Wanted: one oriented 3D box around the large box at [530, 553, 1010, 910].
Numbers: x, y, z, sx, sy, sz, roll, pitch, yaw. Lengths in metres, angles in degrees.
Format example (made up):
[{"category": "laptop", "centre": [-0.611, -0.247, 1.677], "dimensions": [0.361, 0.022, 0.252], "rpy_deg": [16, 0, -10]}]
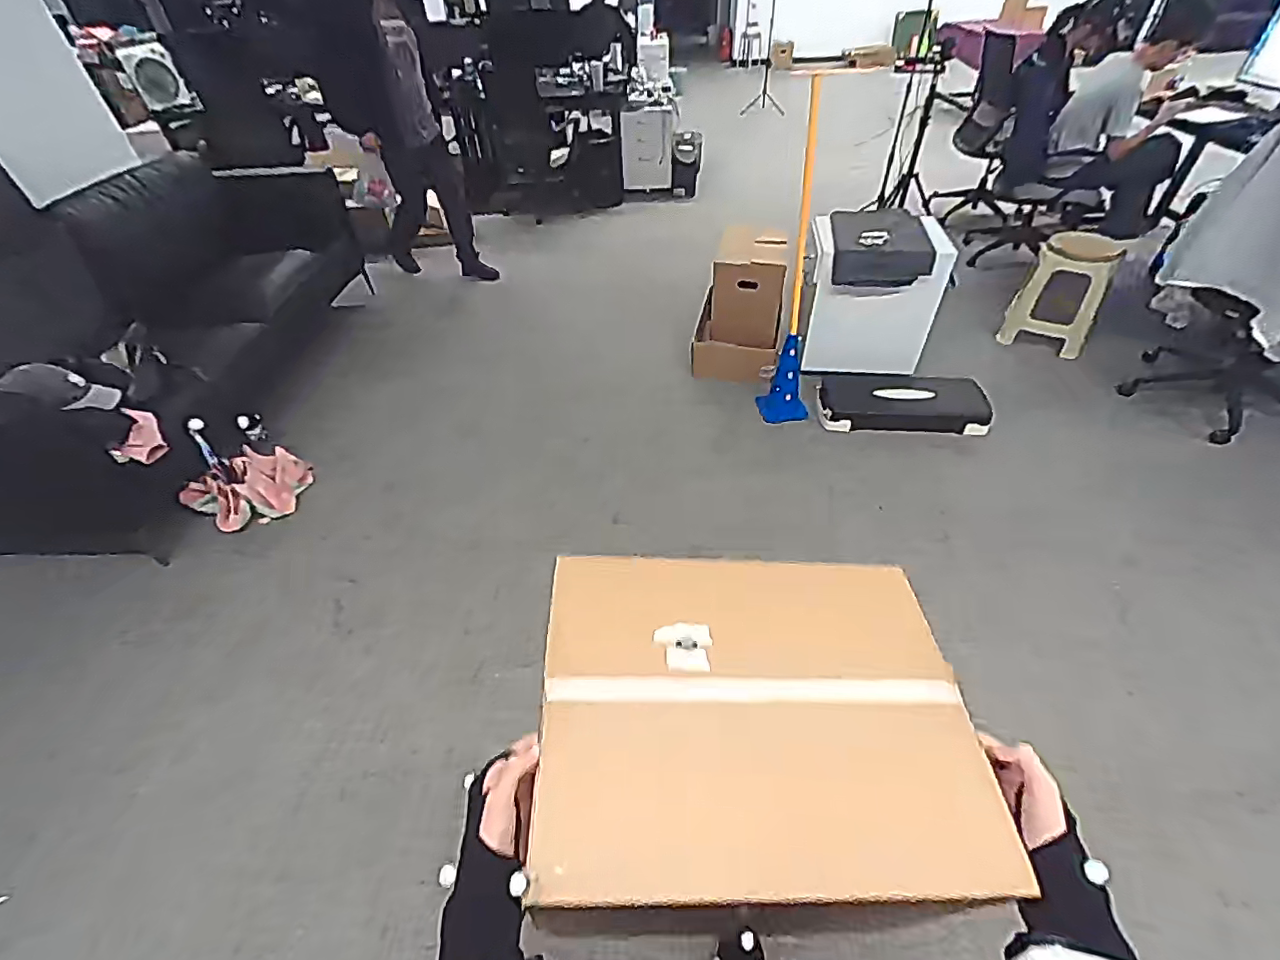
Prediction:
[{"category": "large box", "centre": [0.099, 0.300, 0.641], "dimensions": [0.408, 0.320, 0.320], "rpy_deg": [2, 47, -4]}]
